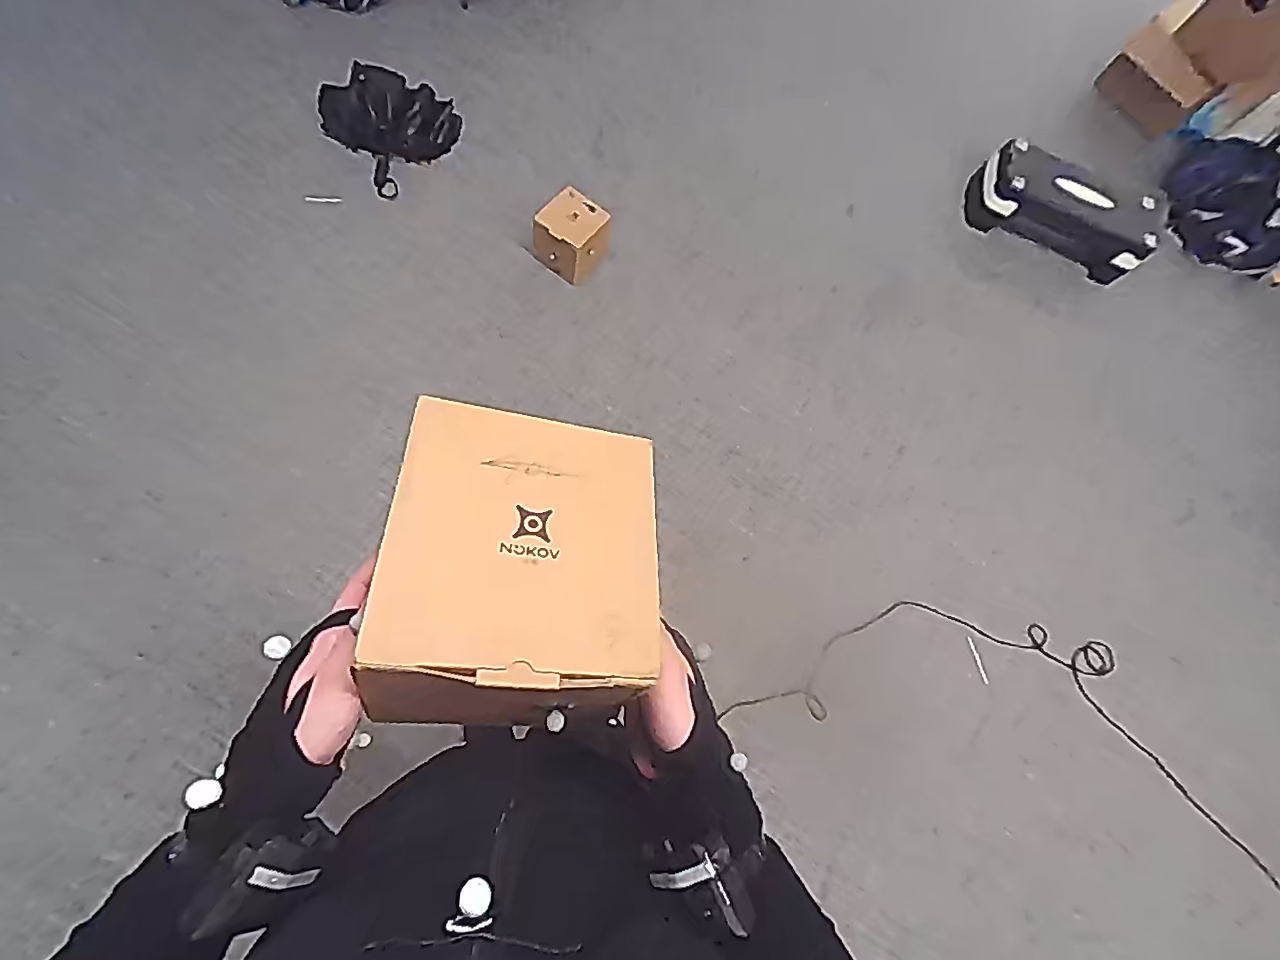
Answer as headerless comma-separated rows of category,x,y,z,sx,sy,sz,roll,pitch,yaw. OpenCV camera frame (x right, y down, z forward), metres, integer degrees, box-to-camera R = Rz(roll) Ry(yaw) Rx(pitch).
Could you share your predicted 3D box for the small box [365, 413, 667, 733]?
small box,-0.089,0.082,0.400,0.168,0.176,0.179,10,54,-18
